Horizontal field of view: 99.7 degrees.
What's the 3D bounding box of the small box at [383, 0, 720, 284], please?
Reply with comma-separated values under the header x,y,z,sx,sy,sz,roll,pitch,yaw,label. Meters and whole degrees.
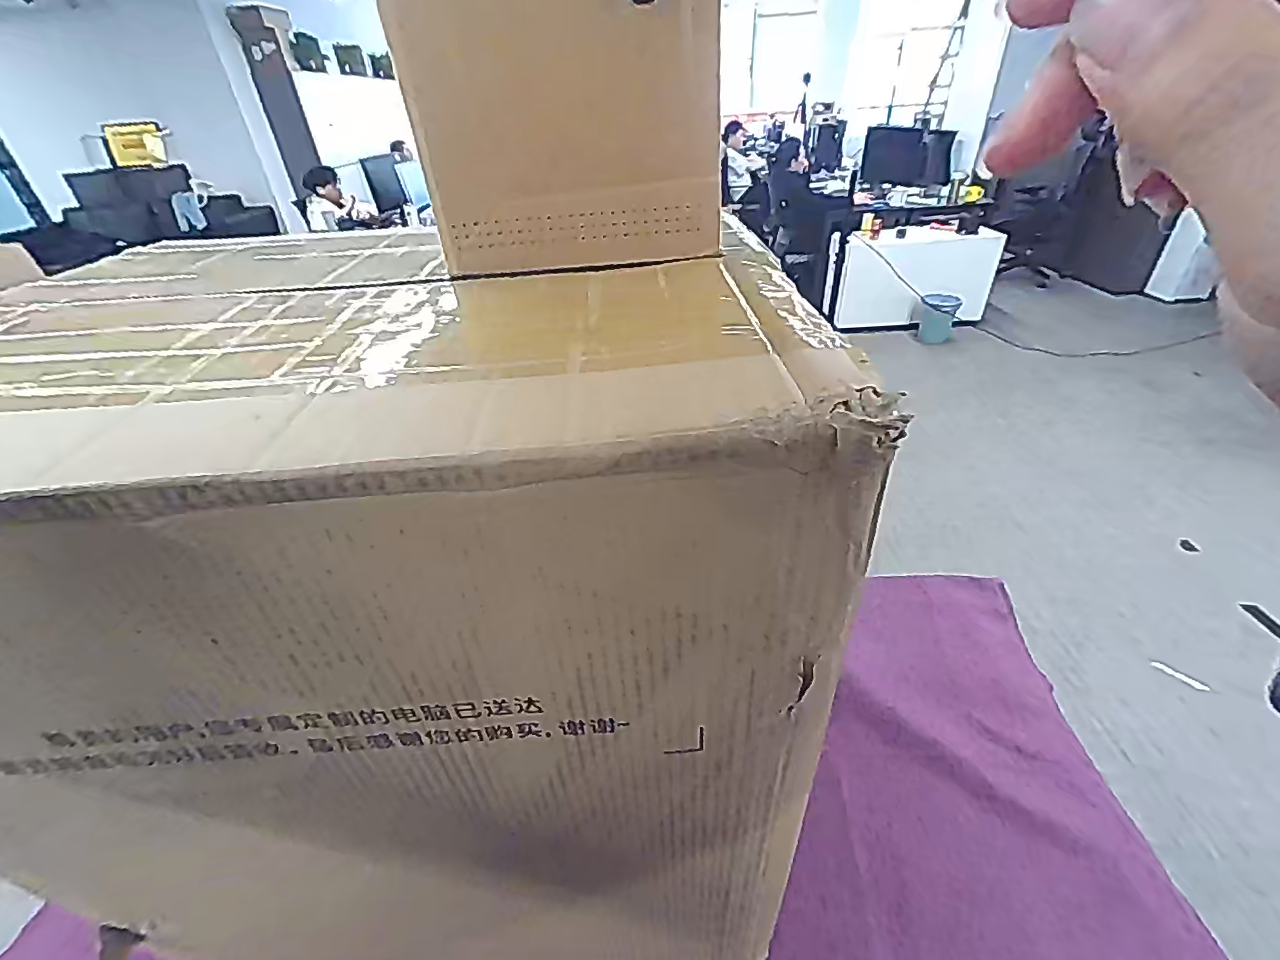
x,y,z,sx,sy,sz,roll,pitch,yaw,label
-0.043,-0.237,0.362,0.179,0.176,0.168,-4,34,1,small box
